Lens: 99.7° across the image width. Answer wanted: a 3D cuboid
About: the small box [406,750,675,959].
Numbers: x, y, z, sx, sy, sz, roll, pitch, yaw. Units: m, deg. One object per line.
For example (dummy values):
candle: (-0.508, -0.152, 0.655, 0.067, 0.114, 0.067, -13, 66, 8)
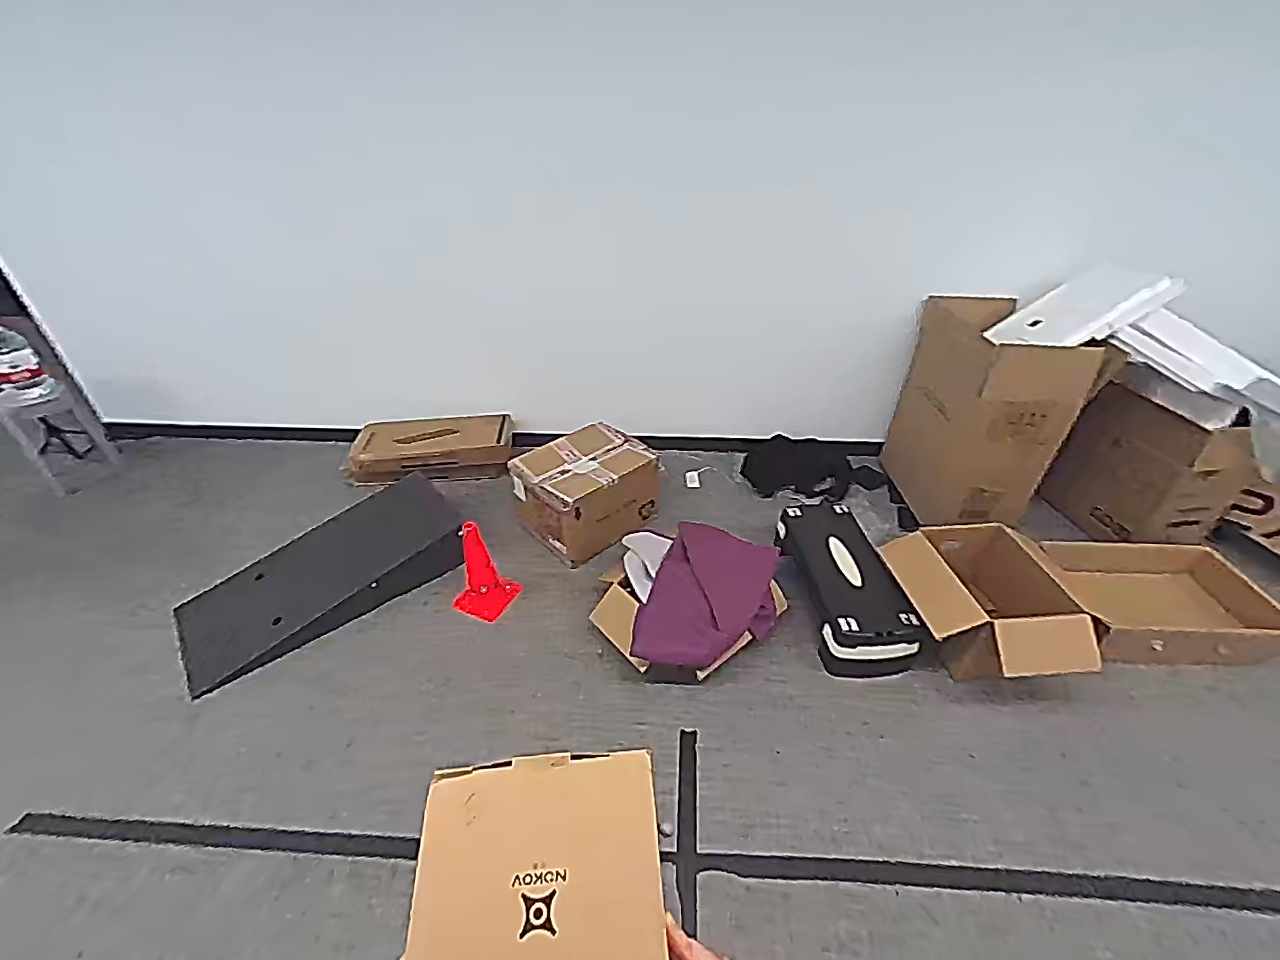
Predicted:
small box: (-0.062, 0.325, 0.405, 0.168, 0.176, 0.179, -5, 50, -3)
